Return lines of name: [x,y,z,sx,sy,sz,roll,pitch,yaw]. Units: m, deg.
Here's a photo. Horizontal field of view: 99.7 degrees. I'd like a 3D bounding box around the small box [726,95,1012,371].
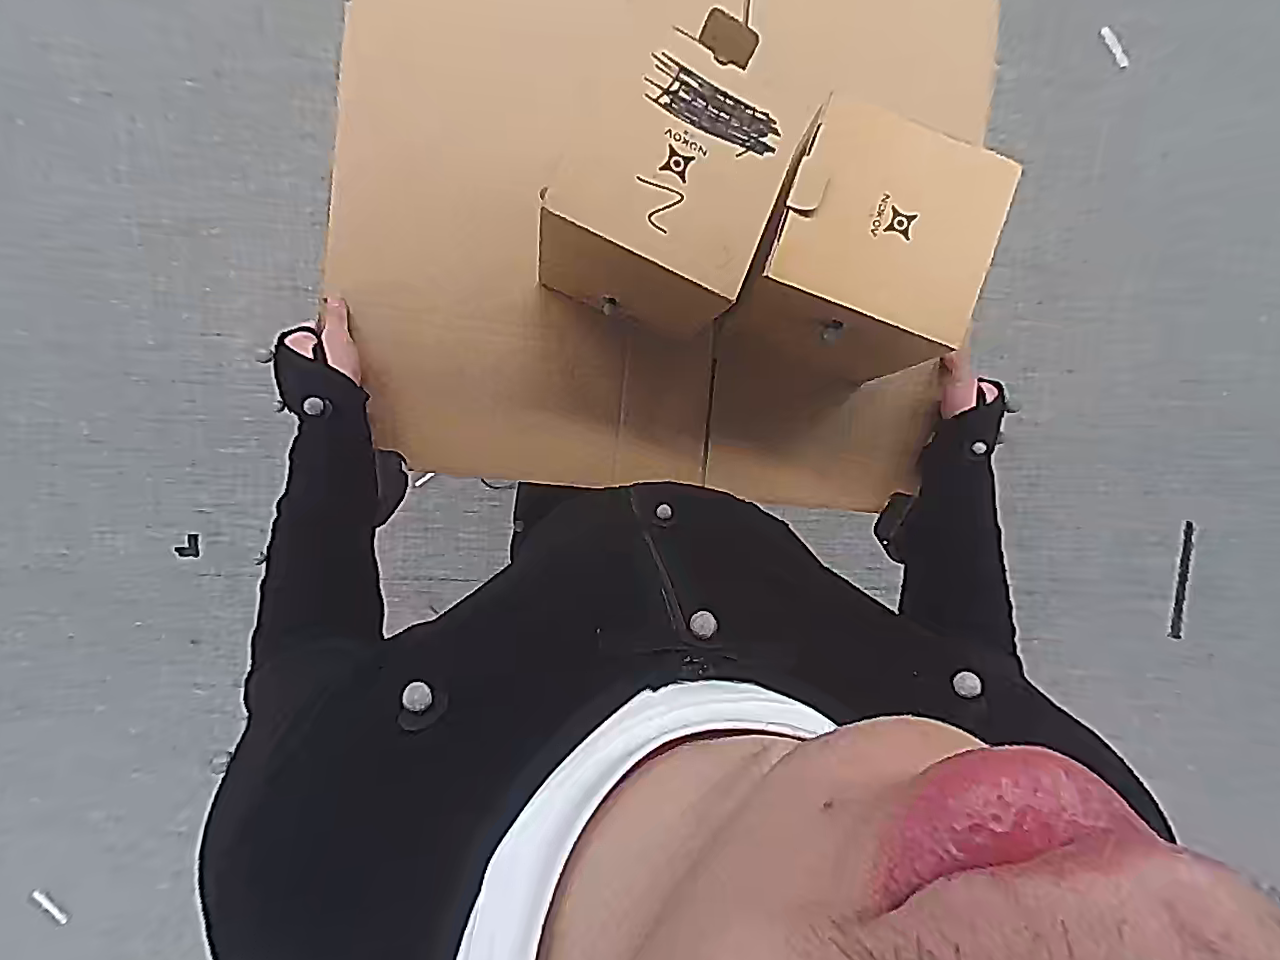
small box: [0.205,-0.219,0.534,0.179,0.176,0.168,19,89,-3]
